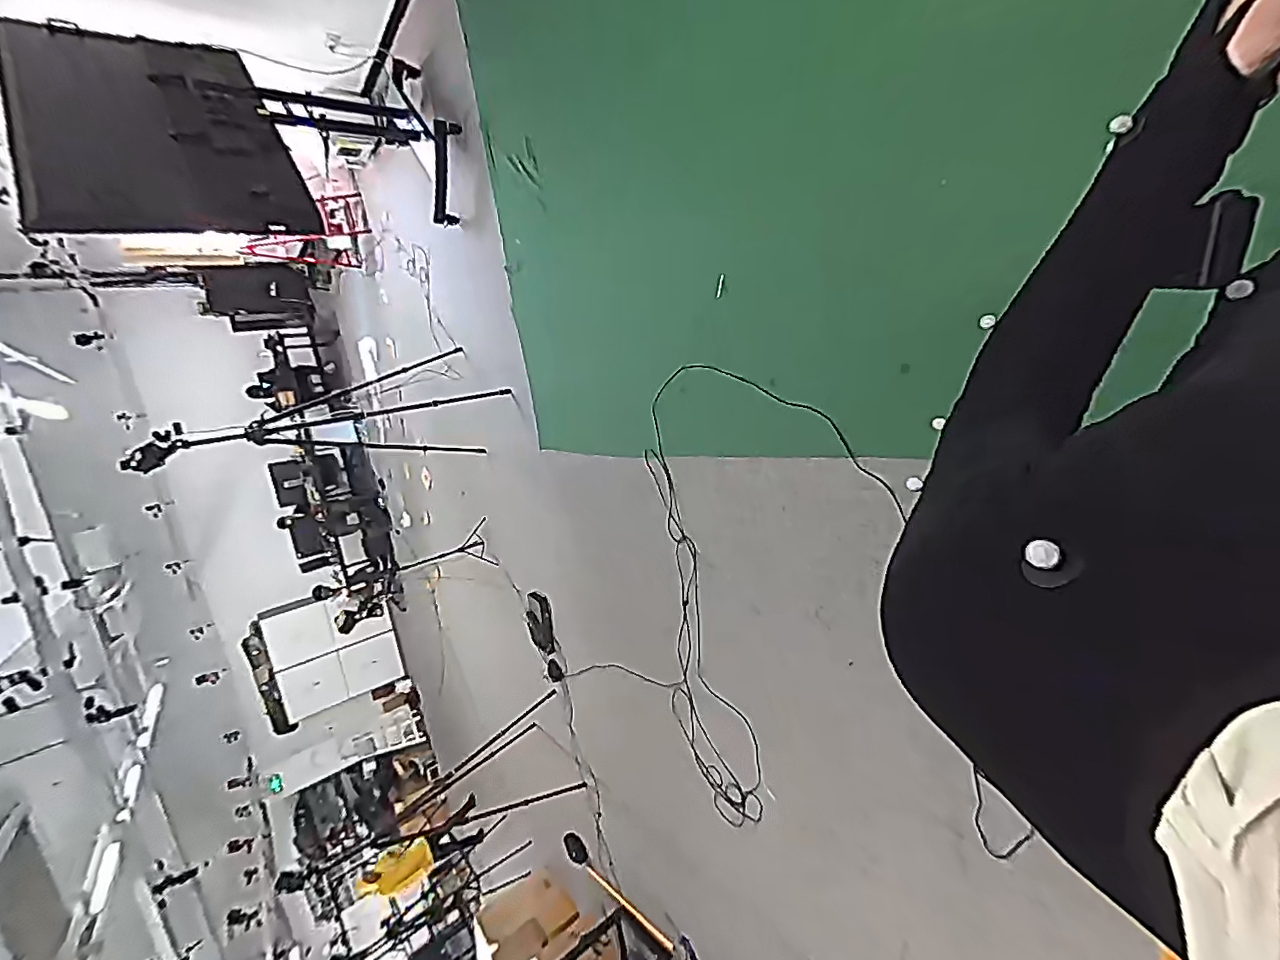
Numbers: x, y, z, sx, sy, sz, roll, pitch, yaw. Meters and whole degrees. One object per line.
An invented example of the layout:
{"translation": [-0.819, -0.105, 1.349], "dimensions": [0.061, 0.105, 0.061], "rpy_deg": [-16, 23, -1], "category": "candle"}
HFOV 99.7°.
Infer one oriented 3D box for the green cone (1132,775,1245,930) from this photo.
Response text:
{"translation": [1.247, 0.911, 1.269], "dimensions": [0.202, 0.368, 0.200], "rpy_deg": [5, 107, 52], "category": "green cone"}
